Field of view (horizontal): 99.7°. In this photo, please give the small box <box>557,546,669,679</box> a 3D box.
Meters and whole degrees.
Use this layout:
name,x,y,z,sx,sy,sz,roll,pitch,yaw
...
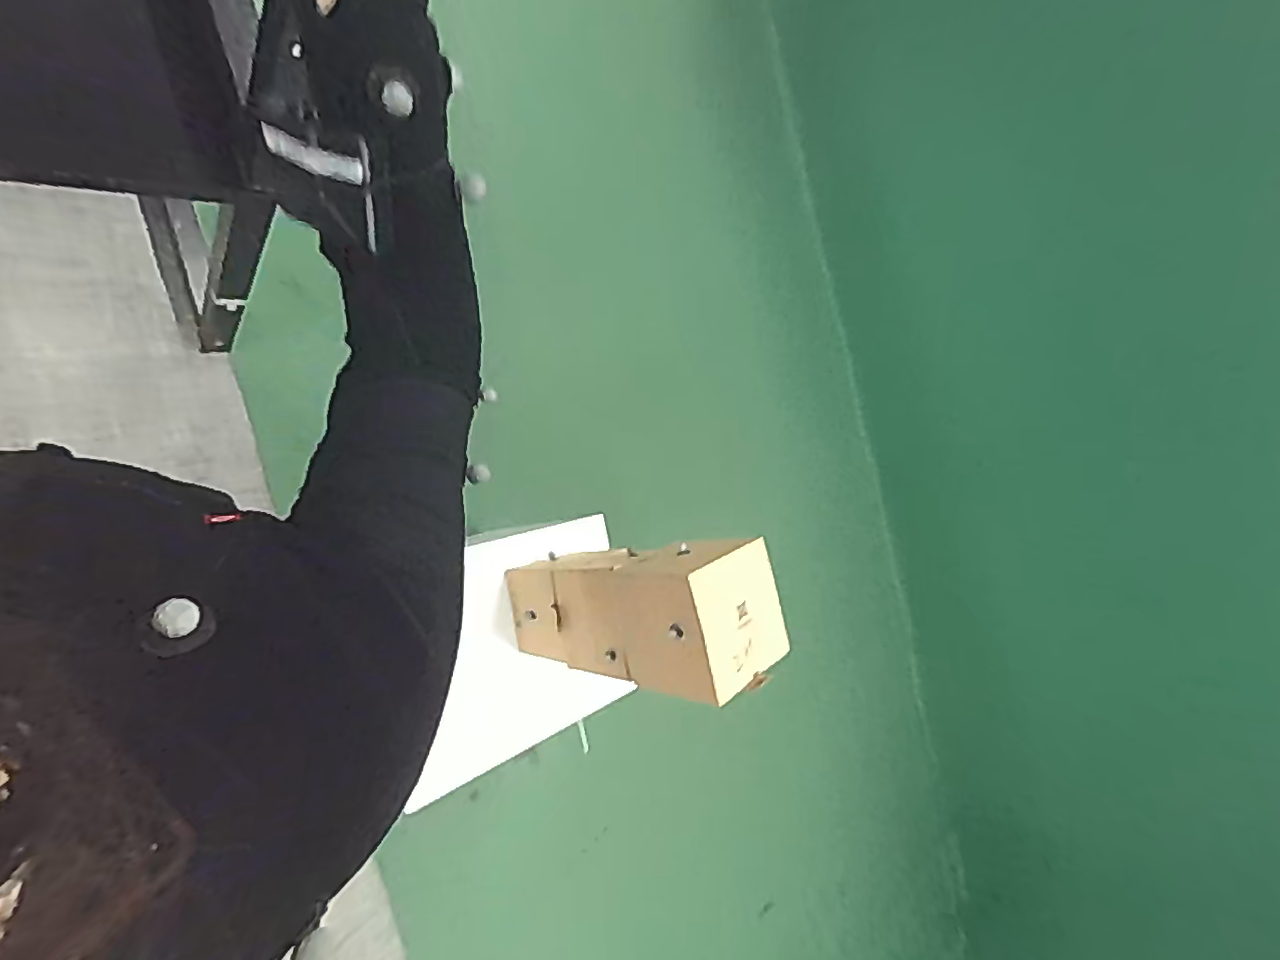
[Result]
name,x,y,z,sx,sy,sz,roll,pitch,yaw
small box,-0.022,0.210,0.902,0.168,0.176,0.179,-7,89,-43

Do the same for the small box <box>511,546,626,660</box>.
name,x,y,z,sx,sy,sz,roll,pitch,yaw
small box,-0.129,0.225,1.024,0.179,0.176,0.168,-10,91,-42

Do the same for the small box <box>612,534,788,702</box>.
name,x,y,z,sx,sy,sz,roll,pitch,yaw
small box,0.082,0.186,0.776,0.168,0.176,0.179,-17,95,-42
